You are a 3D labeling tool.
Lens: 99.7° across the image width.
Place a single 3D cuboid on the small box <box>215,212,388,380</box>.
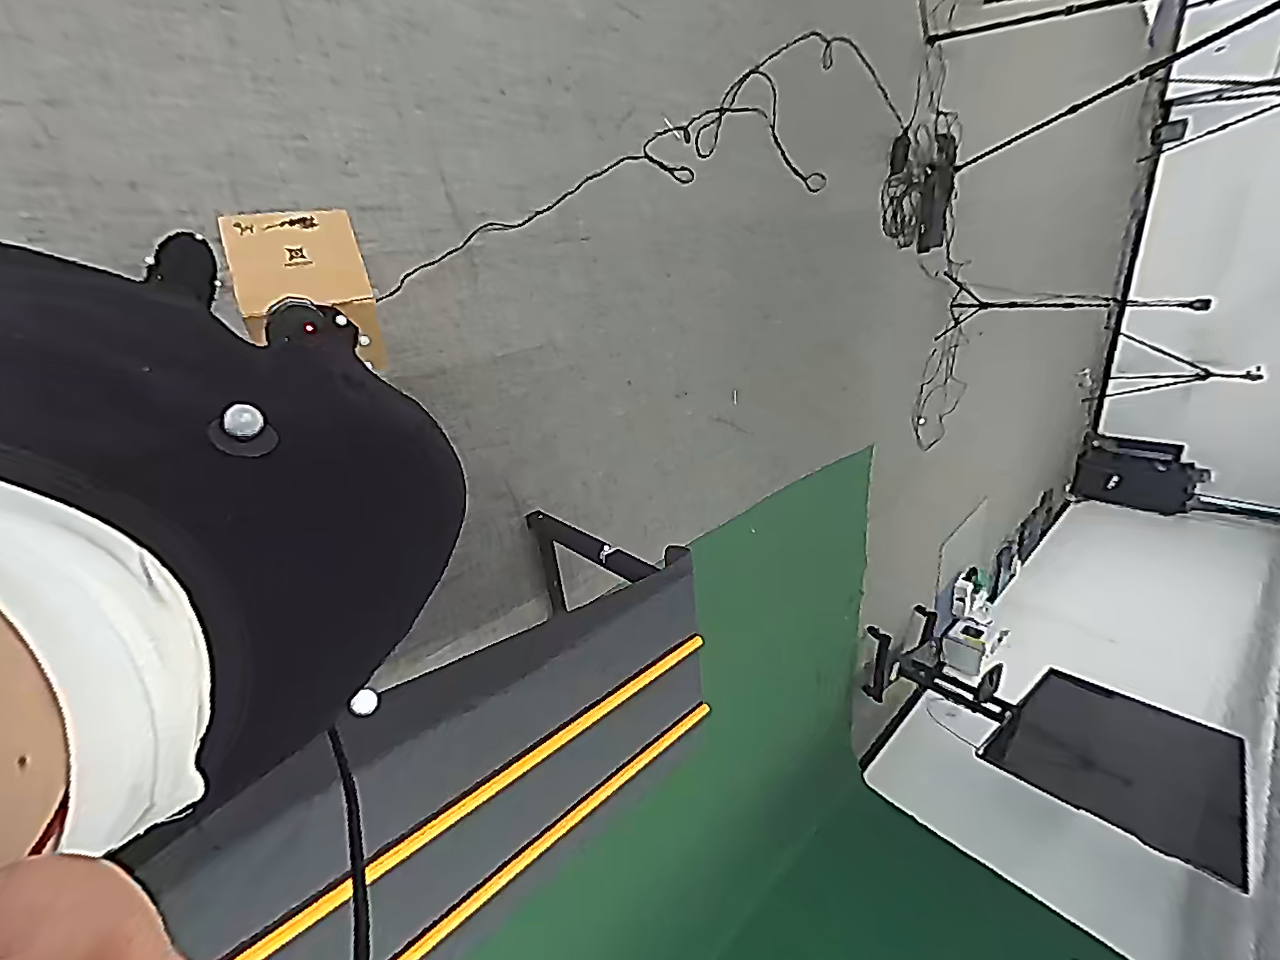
[{"bbox_3d":[-0.508,-0.274,0.834,0.168,0.176,0.179,-20,73,-23],"label":"small box"}]
